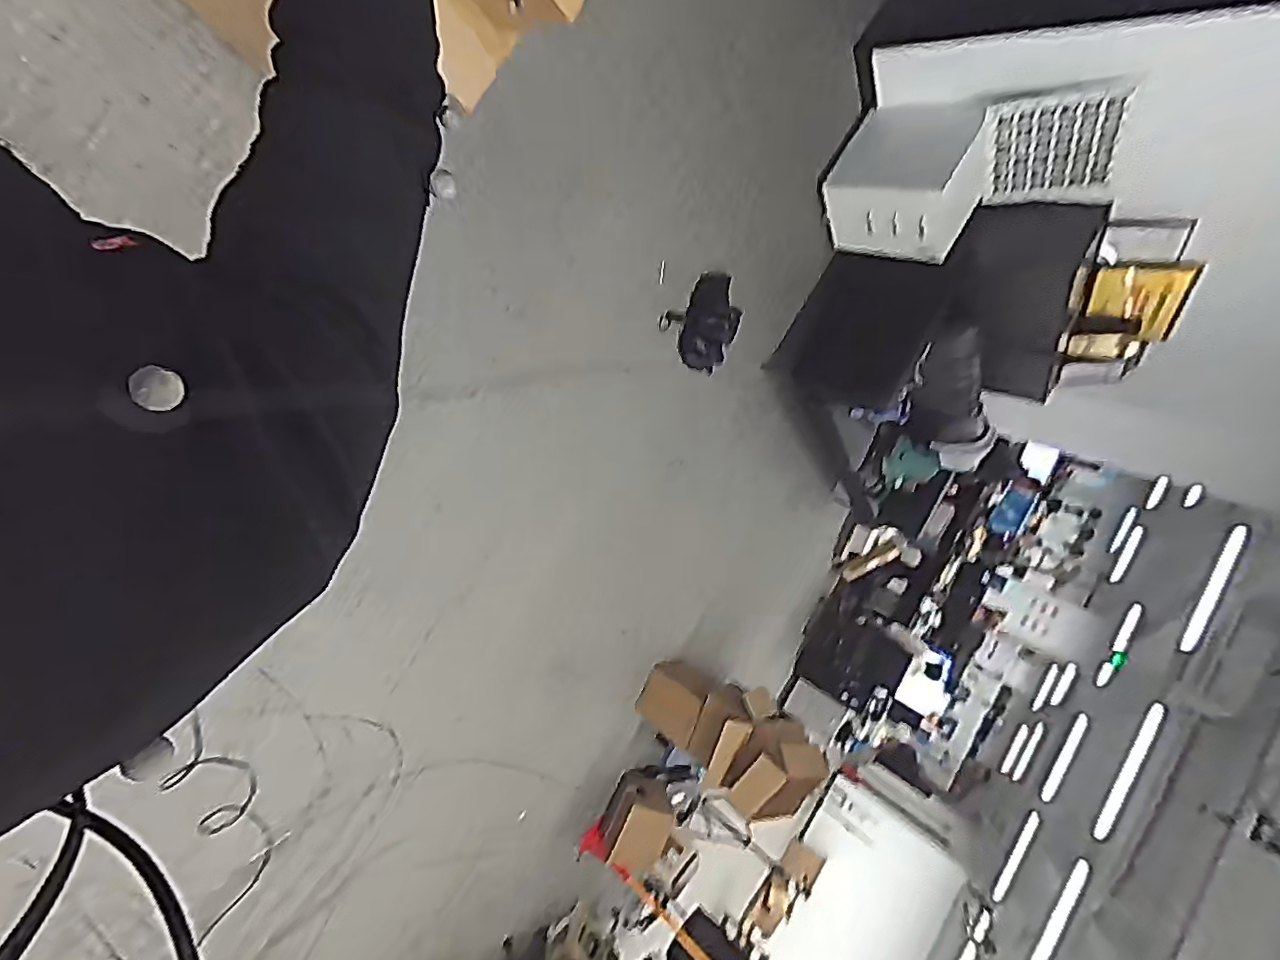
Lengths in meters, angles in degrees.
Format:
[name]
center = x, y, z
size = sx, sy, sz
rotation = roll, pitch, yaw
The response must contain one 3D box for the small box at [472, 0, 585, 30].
[small box]
center = -0.151, -0.698, 0.660
size = 0.179, 0.176, 0.168
rotation = 23, 96, -52
